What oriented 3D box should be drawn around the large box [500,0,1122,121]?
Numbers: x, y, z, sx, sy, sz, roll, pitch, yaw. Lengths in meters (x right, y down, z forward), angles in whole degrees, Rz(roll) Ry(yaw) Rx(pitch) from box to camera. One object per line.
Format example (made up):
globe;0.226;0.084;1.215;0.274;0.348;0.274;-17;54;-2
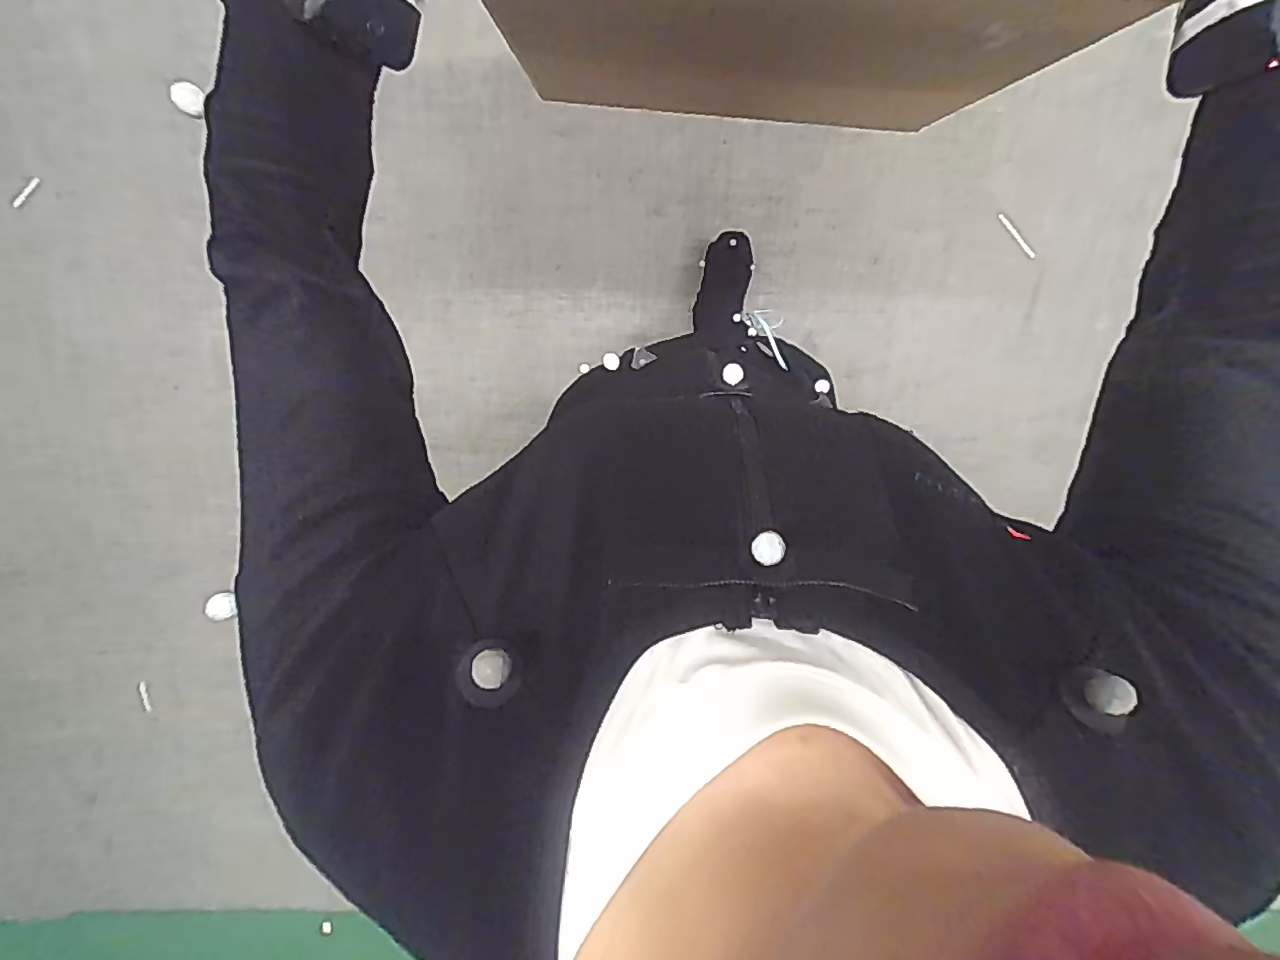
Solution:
large box;0.105;-0.479;0.380;0.408;0.320;0.320;3;111;-2
